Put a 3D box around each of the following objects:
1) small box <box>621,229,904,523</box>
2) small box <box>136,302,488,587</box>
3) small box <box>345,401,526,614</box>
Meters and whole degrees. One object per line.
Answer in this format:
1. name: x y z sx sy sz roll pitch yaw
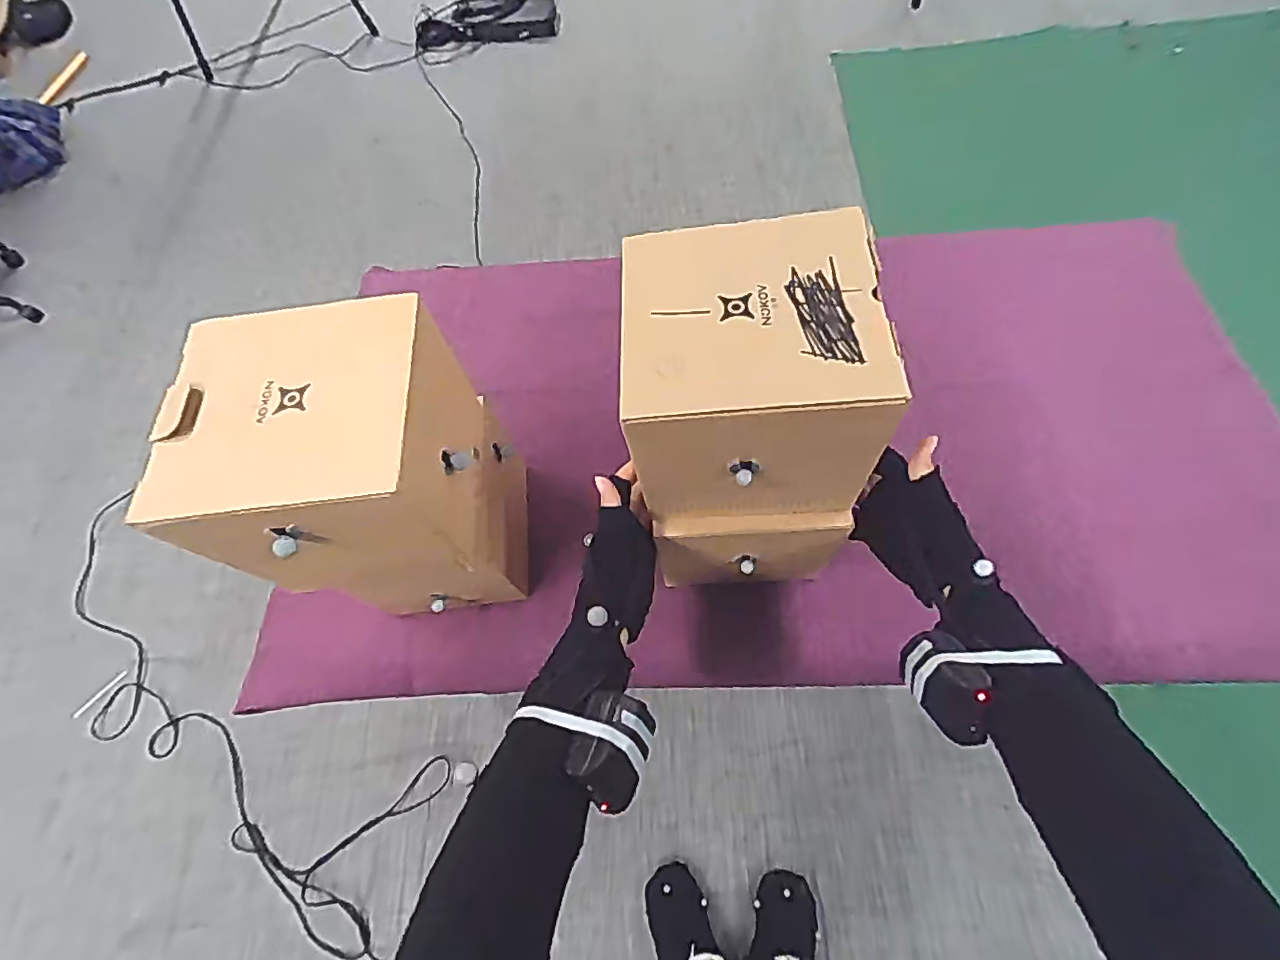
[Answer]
1. small box: 0.085 -0.071 0.440 0.179 0.176 0.168 -3 63 7
2. small box: -0.233 -0.018 0.443 0.179 0.176 0.168 -6 64 1
3. small box: -0.227 0.037 0.597 0.168 0.176 0.179 -6 64 1
